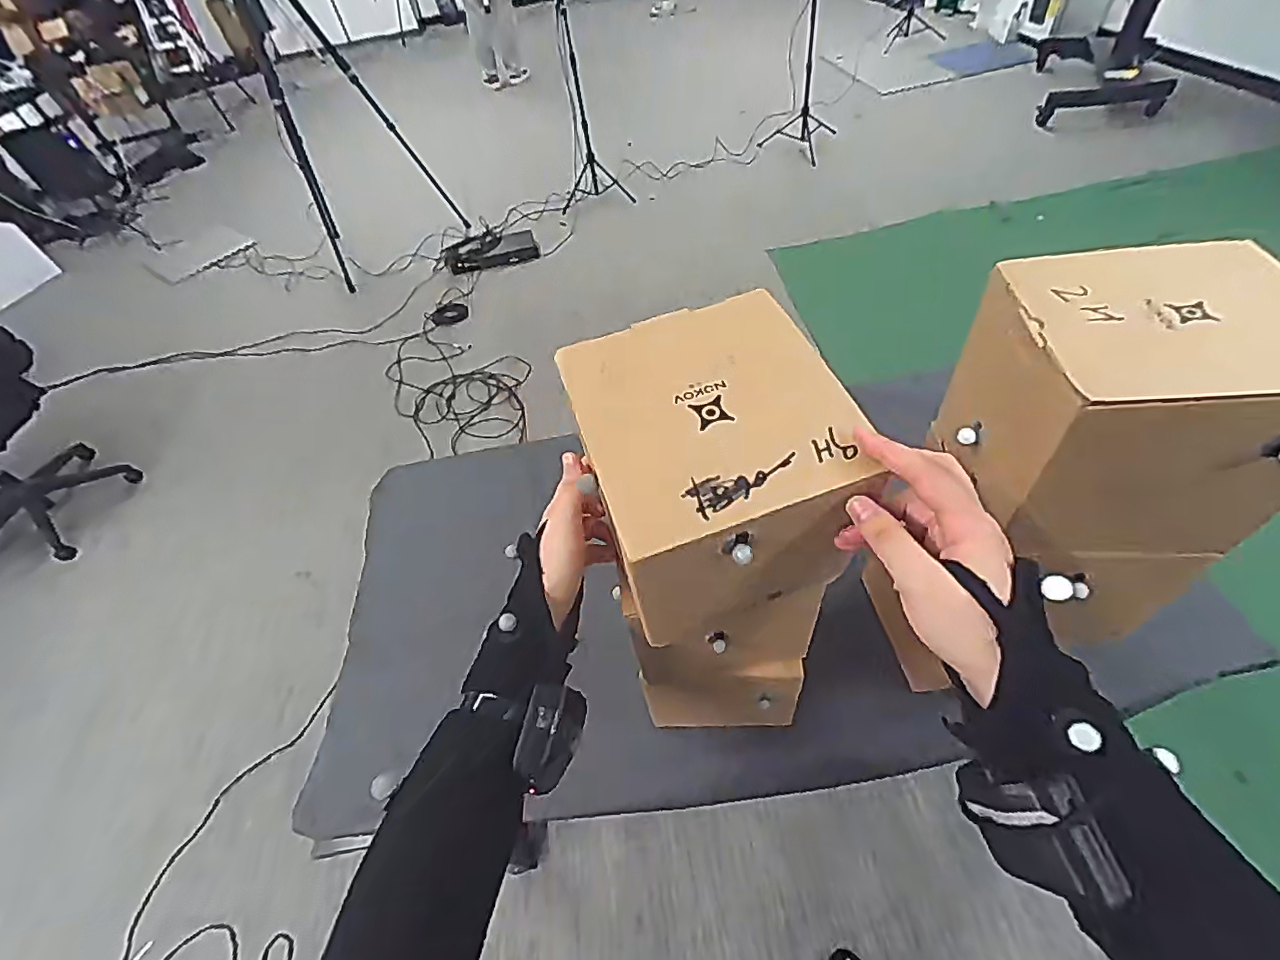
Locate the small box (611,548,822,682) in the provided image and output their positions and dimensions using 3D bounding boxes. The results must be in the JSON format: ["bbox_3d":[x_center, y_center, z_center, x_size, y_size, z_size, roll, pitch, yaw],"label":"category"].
[{"bbox_3d":[0.068,0.090,0.560,0.179,0.176,0.168,-11,49,1],"label":"small box"}]

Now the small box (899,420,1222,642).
[{"bbox_3d":[0.384,0.052,0.541,0.179,0.176,0.168,-3,50,9],"label":"small box"}]

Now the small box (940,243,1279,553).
[{"bbox_3d":[0.364,-0.056,0.416,0.179,0.176,0.168,-1,50,10],"label":"small box"}]

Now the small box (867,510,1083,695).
[{"bbox_3d":[0.405,0.143,0.674,0.168,0.176,0.179,-11,50,2],"label":"small box"}]

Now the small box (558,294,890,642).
[{"bbox_3d":[0.049,-0.004,0.412,0.168,0.176,0.179,-18,56,-5],"label":"small box"}]
